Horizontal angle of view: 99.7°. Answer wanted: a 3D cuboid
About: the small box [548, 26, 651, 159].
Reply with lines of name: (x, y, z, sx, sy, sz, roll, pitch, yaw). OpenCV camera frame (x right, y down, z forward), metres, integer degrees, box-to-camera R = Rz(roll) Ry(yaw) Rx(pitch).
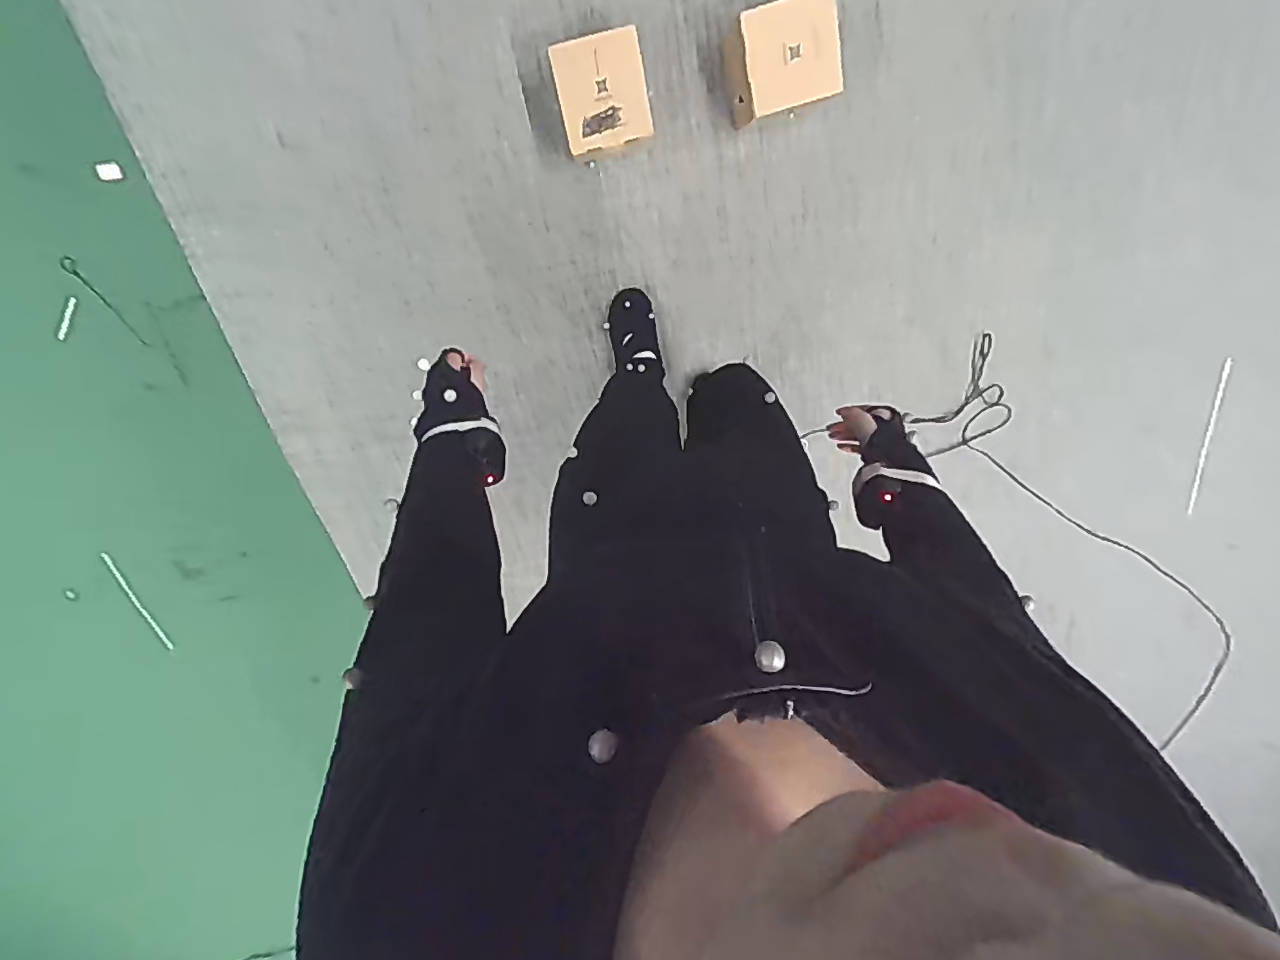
small box: (-0.074, -0.759, 1.082, 0.168, 0.176, 0.179, -12, 114, 3)

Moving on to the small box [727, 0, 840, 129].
small box: (0.275, -0.818, 1.068, 0.179, 0.176, 0.168, -14, 115, 4)
